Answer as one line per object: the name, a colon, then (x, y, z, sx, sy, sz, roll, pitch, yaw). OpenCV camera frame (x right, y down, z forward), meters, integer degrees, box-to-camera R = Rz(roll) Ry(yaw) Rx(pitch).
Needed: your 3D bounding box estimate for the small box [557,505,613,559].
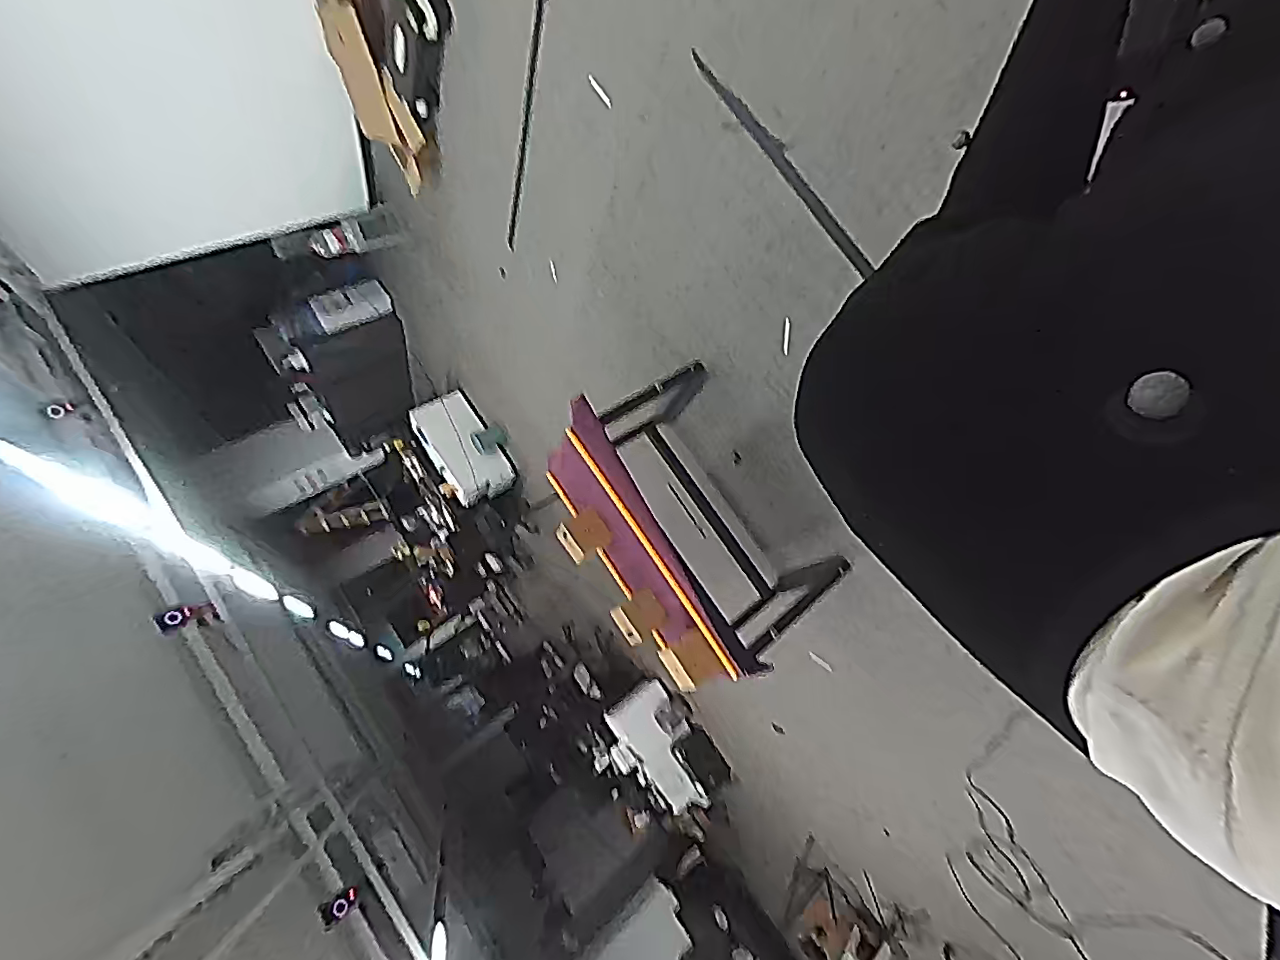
small box: (-0.254, 0.236, 2.502, 0.179, 0.176, 0.168, 53, 152, 8)

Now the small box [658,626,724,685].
small box: (0.208, 0.714, 2.216, 0.179, 0.176, 0.168, 56, 154, 8)
